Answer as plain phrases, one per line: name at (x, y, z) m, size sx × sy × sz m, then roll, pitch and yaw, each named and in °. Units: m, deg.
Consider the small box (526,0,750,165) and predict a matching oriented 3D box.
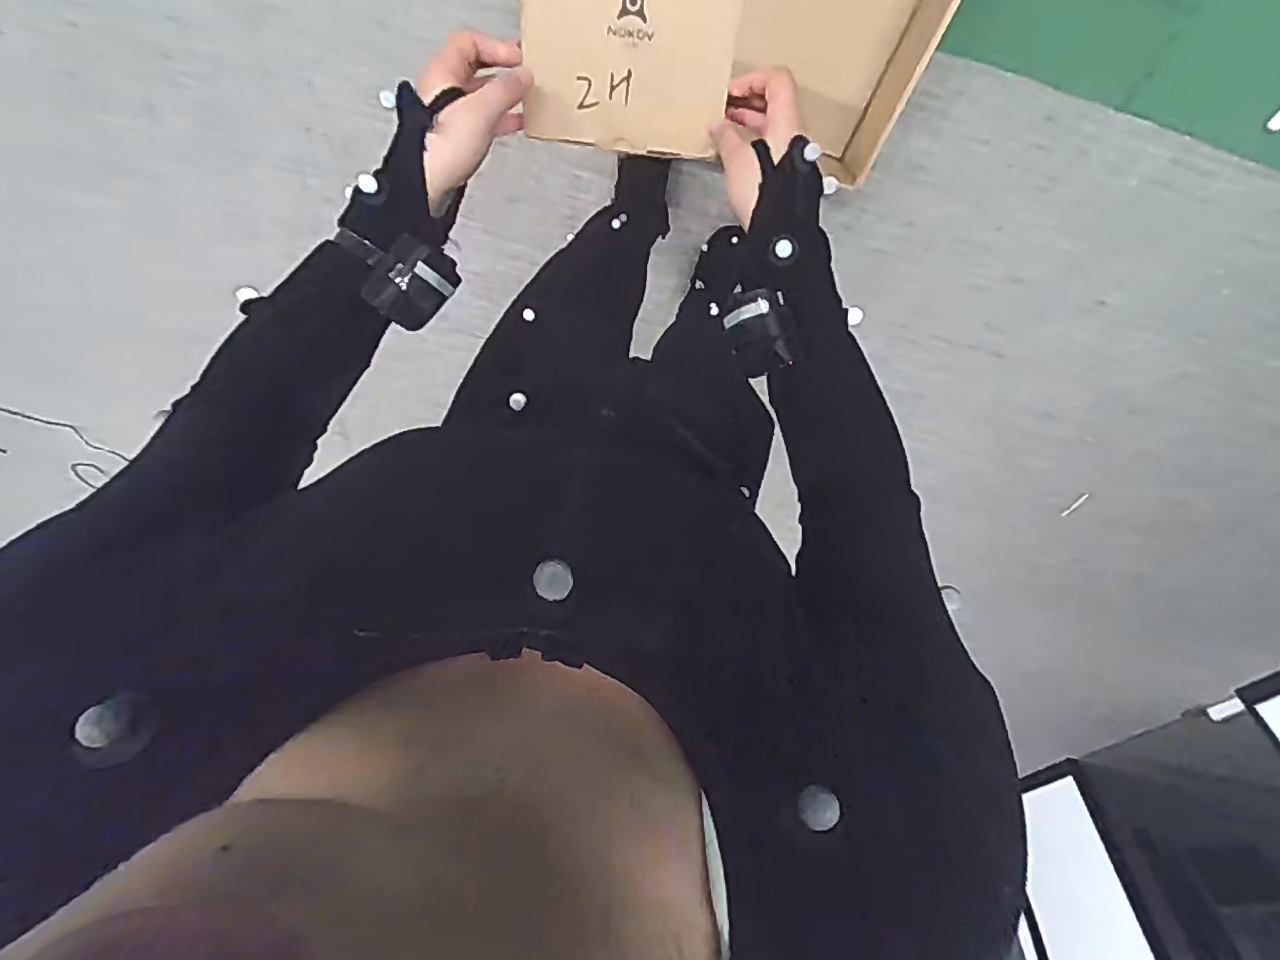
small box at (-0.004, -0.392, 0.466) m, size 0.168 × 0.176 × 0.179 m, roll 5°, pitch 127°, yaw -4°
